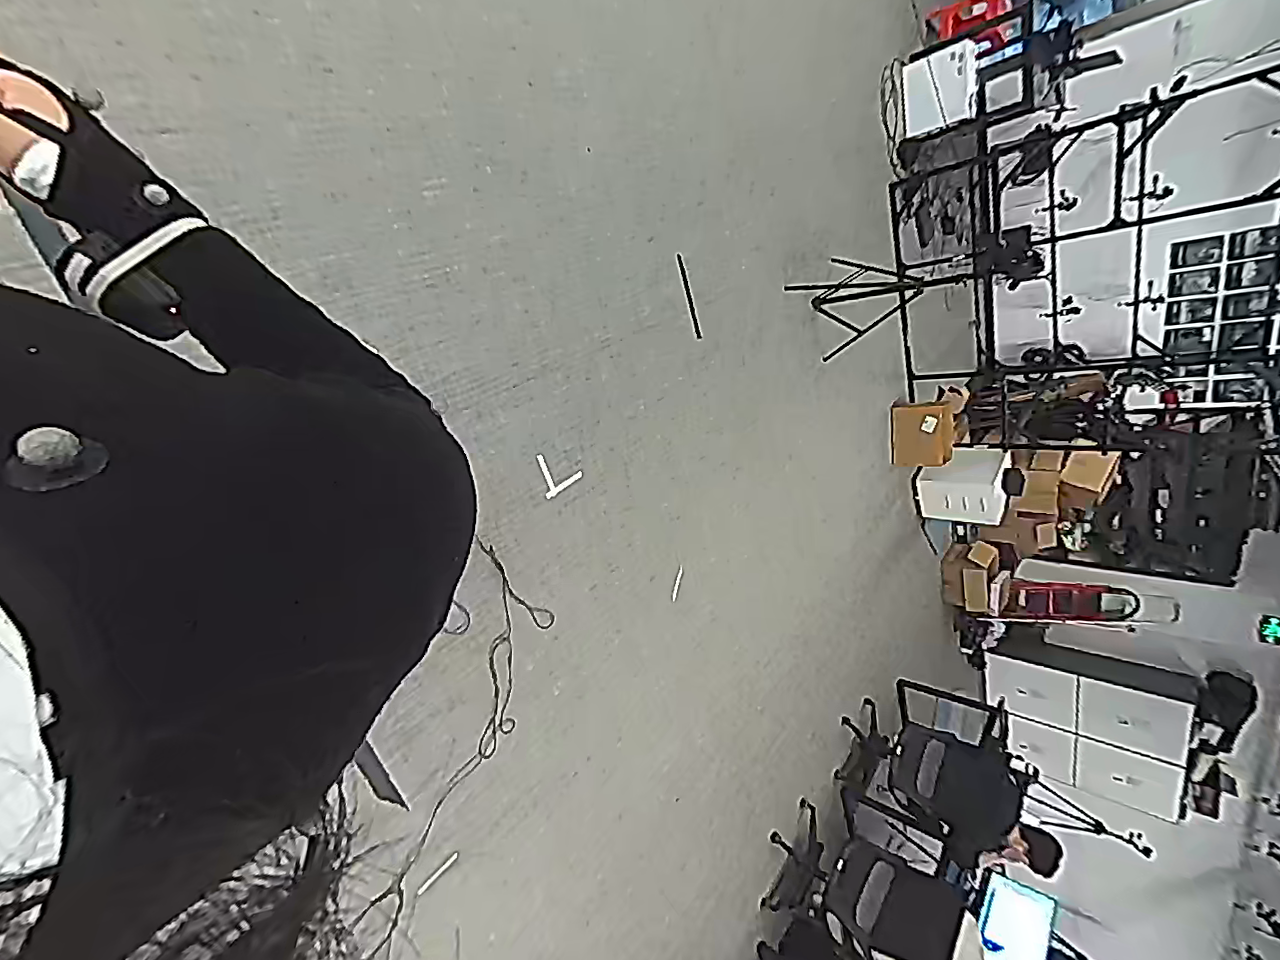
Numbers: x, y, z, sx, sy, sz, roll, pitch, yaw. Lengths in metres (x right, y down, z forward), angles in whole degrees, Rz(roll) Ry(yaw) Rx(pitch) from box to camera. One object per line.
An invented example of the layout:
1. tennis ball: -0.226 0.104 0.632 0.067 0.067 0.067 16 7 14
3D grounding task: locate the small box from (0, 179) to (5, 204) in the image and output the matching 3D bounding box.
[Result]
1. small box: -0.527 -0.271 0.312 0.168 0.176 0.179 -22 113 -41
